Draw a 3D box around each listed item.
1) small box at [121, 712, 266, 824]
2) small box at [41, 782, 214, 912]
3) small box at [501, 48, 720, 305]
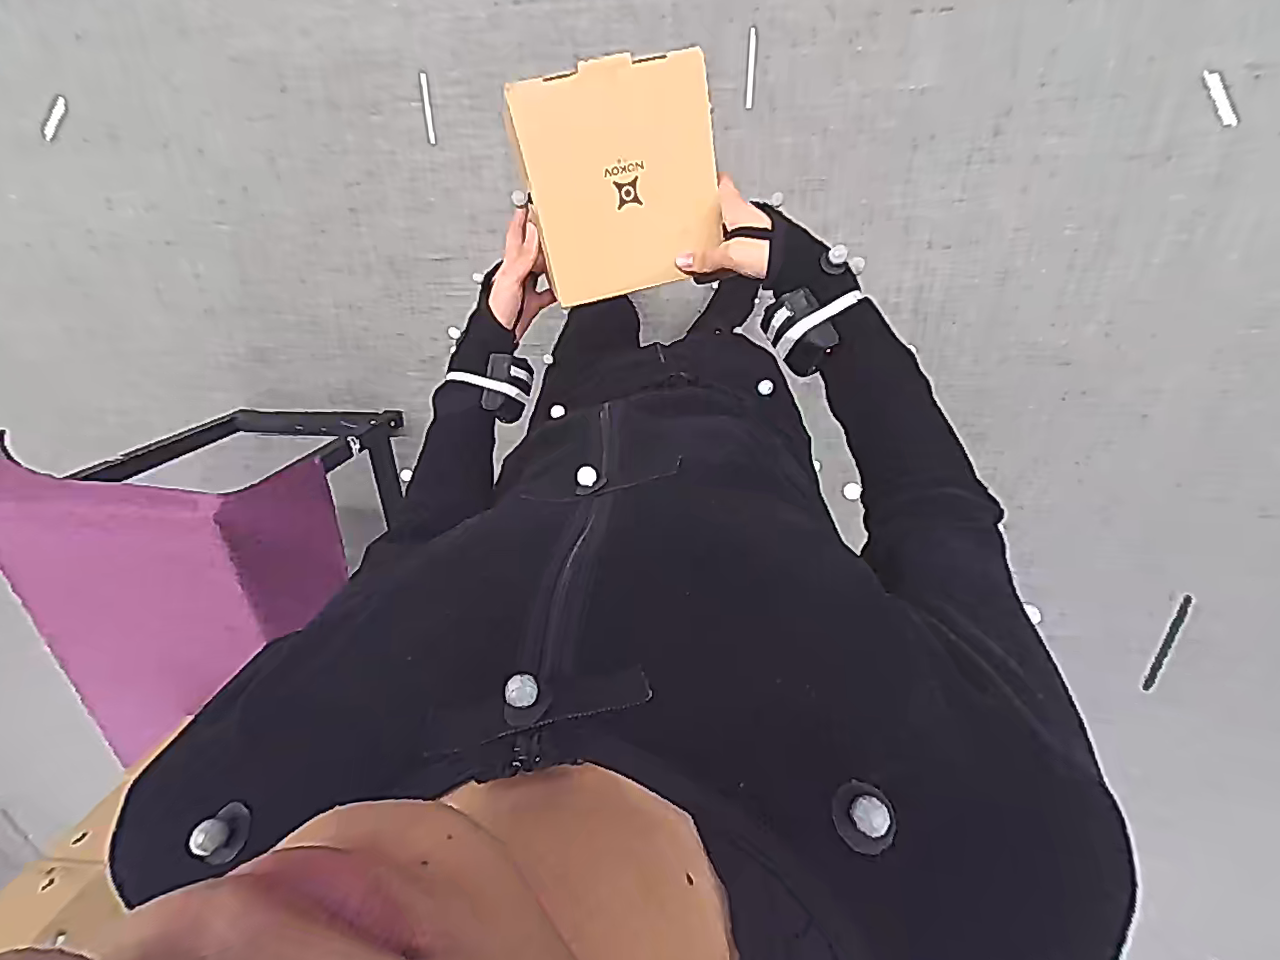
[{"bbox_3d":[-1.049,0.684,1.289,0.168,0.176,0.179,-8,113,11],"label":"small box"},{"bbox_3d":[-1.075,0.773,1.152,0.179,0.176,0.168,-3,115,9],"label":"small box"},{"bbox_3d":[-0.031,-0.292,0.541,0.168,0.176,0.179,-15,118,-6],"label":"small box"}]
